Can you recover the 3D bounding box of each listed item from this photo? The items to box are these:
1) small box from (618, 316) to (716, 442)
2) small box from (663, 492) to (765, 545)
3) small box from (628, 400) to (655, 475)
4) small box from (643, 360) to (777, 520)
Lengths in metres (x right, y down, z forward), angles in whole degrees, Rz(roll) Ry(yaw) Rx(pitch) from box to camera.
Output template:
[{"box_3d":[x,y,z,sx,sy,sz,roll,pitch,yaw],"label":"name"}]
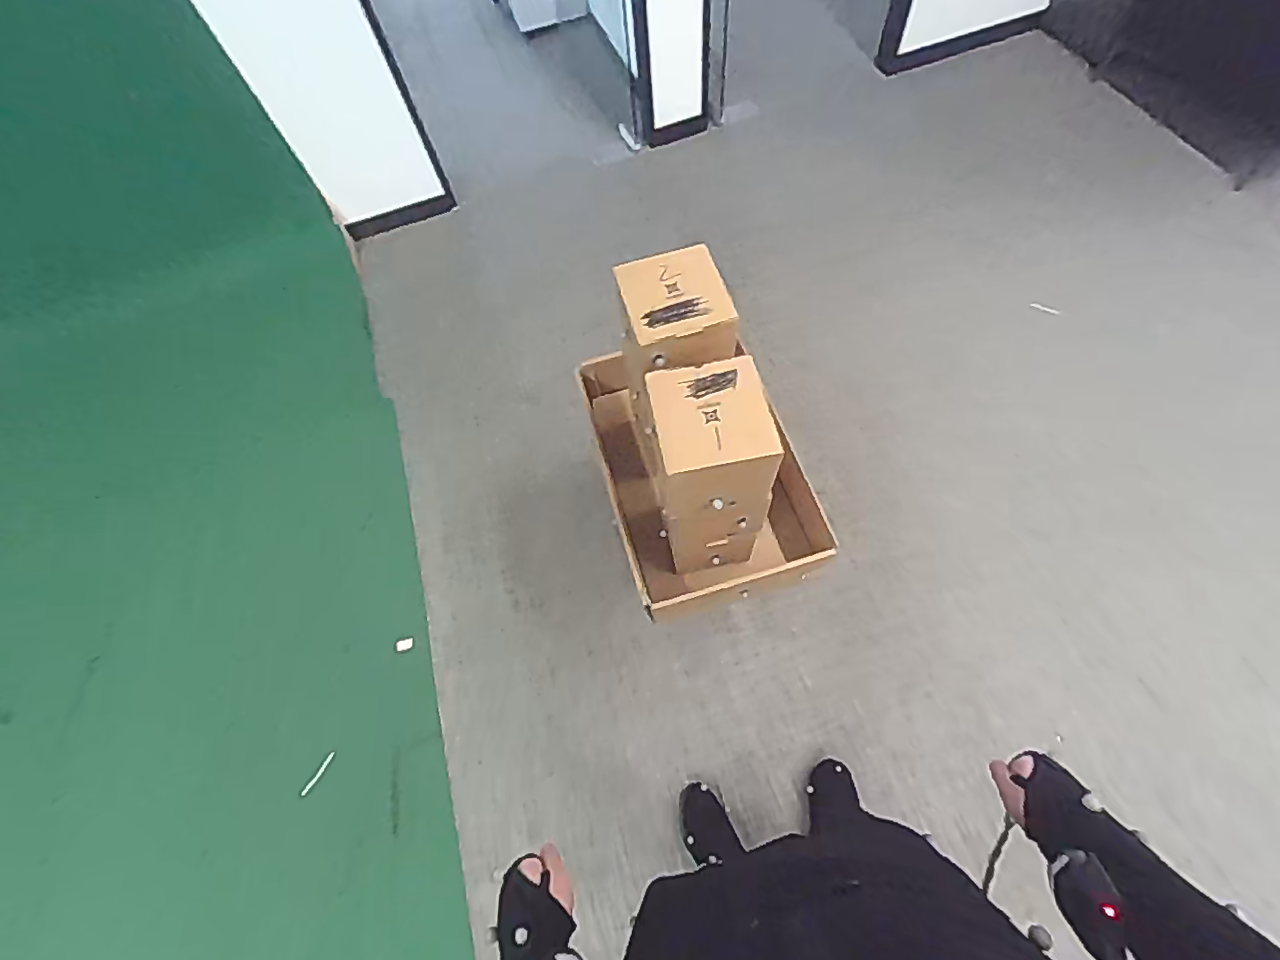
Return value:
[{"box_3d":[0.059,-0.199,1.110,0.168,0.176,0.179,-17,66,-4],"label":"small box"},{"box_3d":[0.121,0.009,0.999,0.168,0.176,0.179,-11,63,-1],"label":"small box"},{"box_3d":[0.071,-0.134,1.258,0.168,0.176,0.179,-17,65,-3],"label":"small box"},{"box_3d":[0.100,-0.058,0.851,0.168,0.176,0.179,-10,64,-1],"label":"small box"}]
